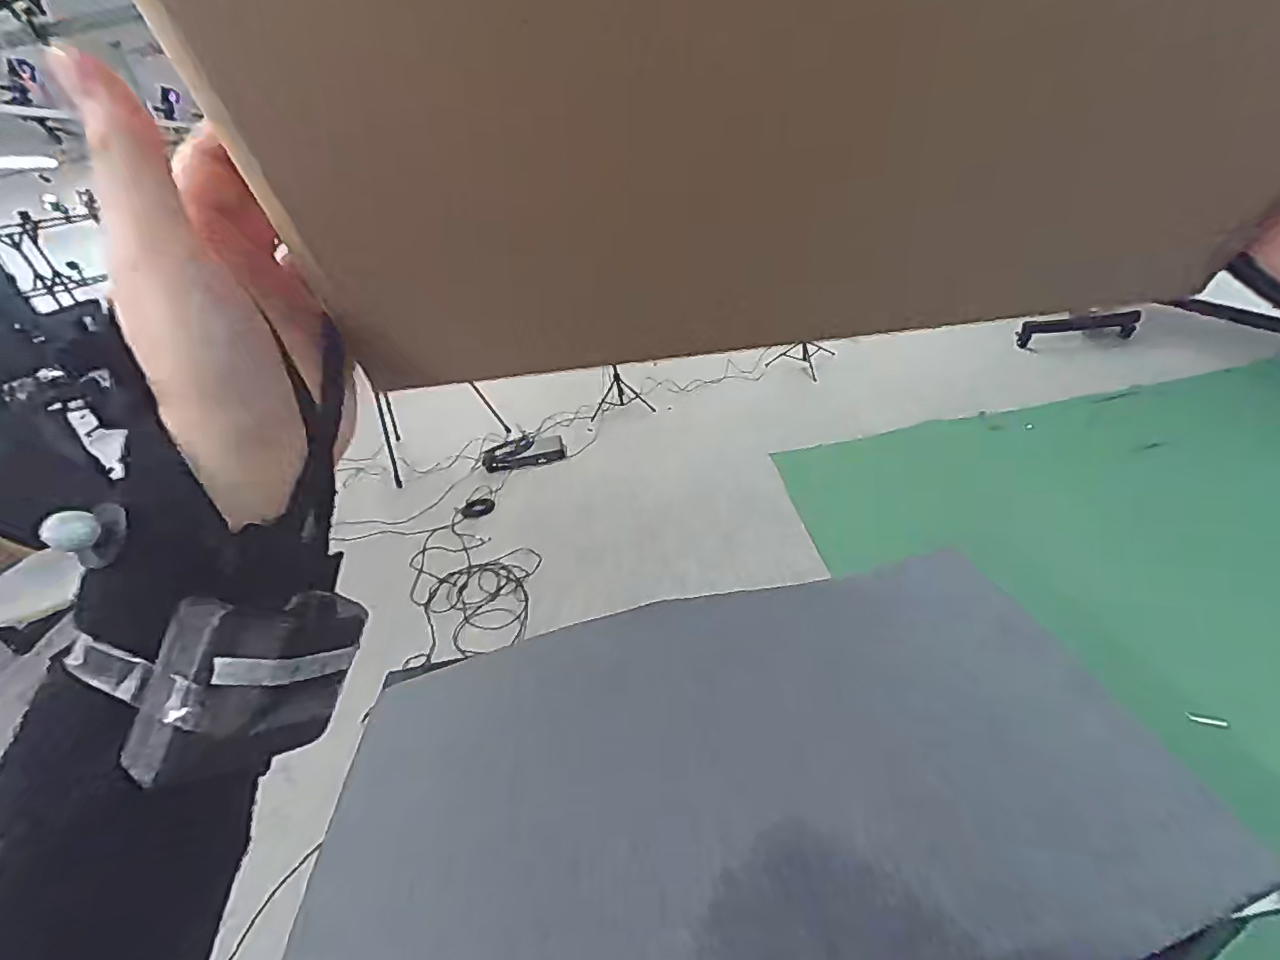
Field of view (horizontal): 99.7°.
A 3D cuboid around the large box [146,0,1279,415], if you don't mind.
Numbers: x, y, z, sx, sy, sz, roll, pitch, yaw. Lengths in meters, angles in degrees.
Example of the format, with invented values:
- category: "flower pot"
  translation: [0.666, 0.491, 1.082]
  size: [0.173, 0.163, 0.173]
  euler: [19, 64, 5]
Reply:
- category: "large box"
  translation: [0.046, -0.262, 0.238]
  size: [0.408, 0.320, 0.320]
  euler: [-8, 56, -4]
